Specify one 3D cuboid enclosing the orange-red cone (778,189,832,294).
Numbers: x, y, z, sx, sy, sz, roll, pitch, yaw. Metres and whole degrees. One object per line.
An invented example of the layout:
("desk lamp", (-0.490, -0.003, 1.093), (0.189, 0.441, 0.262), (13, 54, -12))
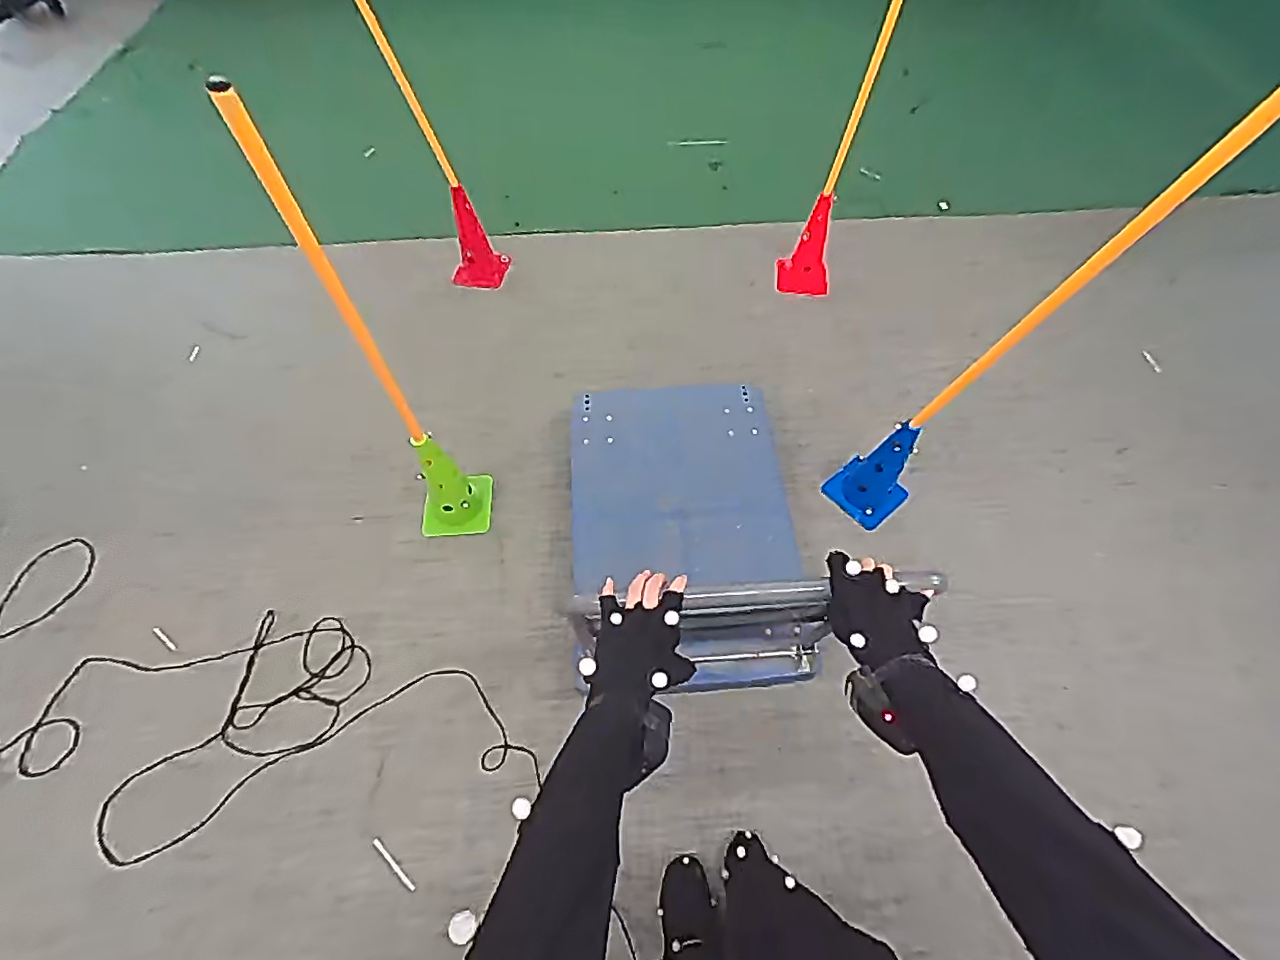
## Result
("orange-red cone", (0.646, -0.897, 2.005), (0.198, 0.360, 0.199), (6, 61, 5))
